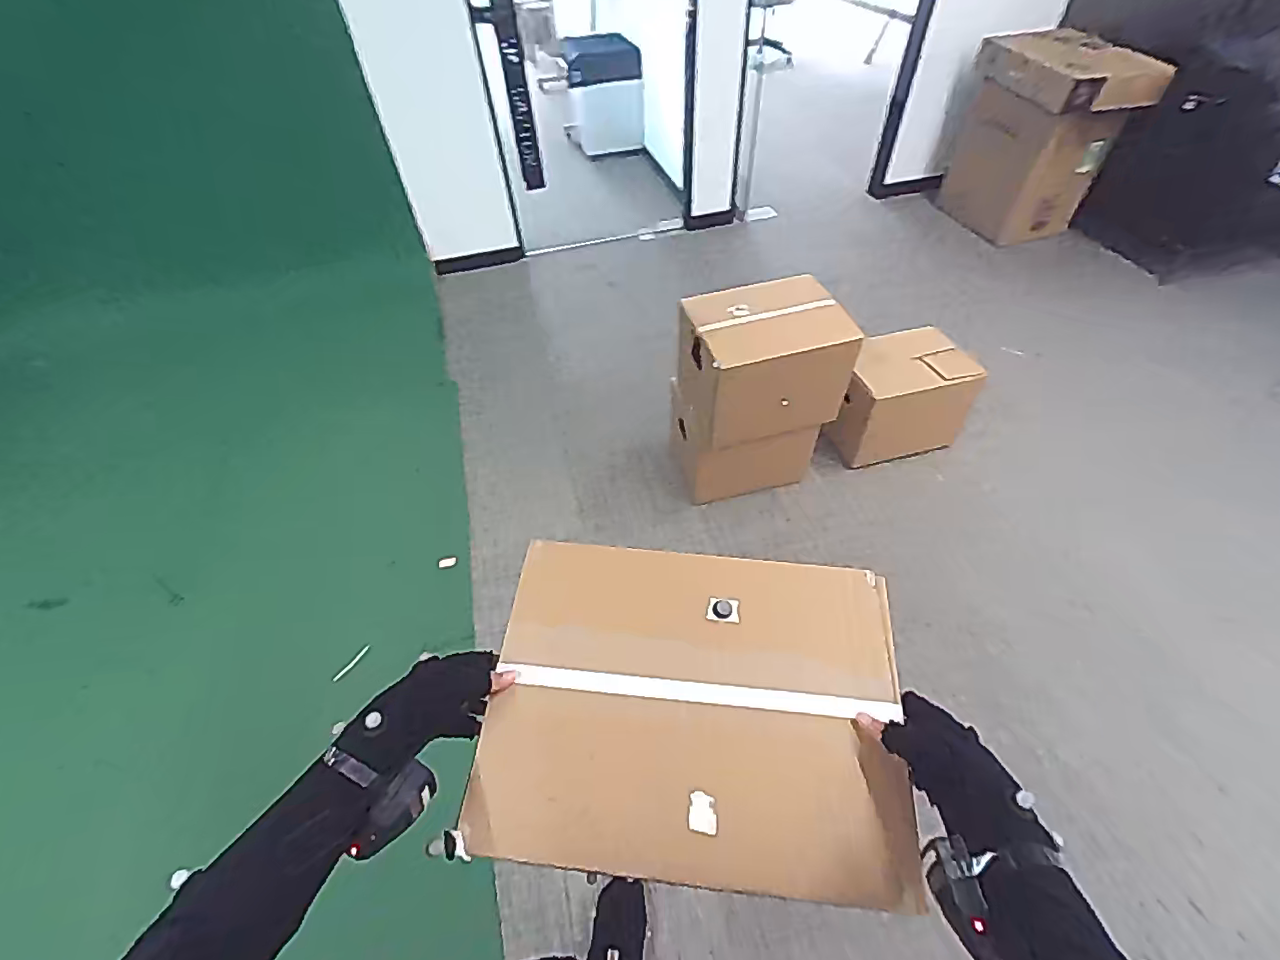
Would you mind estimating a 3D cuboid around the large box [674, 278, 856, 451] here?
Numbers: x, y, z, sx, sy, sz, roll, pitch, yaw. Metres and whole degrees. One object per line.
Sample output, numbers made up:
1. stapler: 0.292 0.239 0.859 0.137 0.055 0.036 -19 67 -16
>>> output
1. large box: 0.335 -0.331 1.566 0.408 0.320 0.320 -14 53 -8
